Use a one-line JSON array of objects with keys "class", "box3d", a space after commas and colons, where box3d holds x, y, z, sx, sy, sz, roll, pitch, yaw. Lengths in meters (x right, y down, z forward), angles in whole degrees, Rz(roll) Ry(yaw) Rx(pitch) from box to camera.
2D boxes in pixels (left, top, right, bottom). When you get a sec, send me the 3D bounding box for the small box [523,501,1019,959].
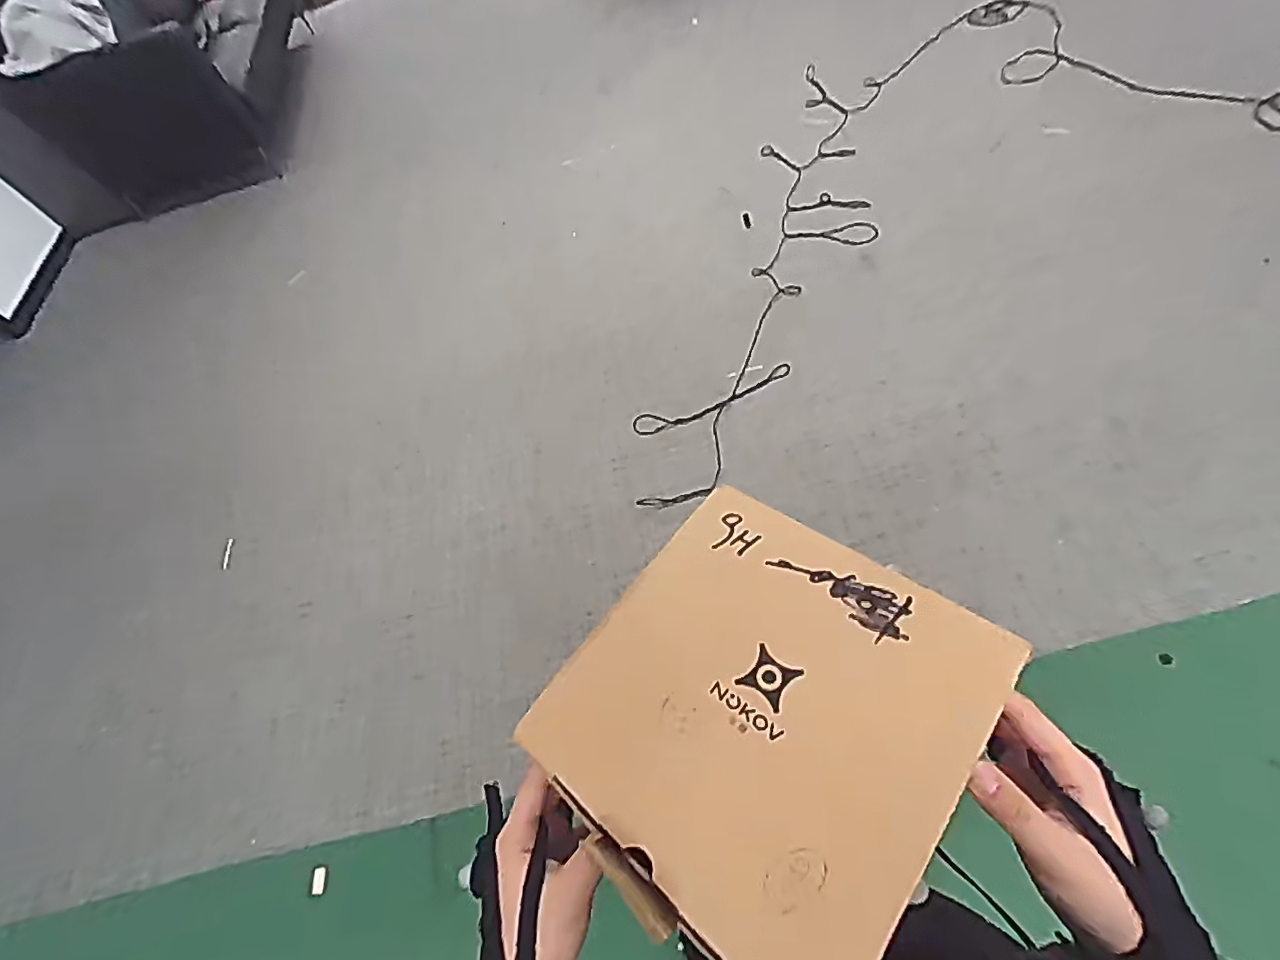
[{"class": "small box", "box3d": [0.073, 0.152, 0.313, 0.168, 0.176, 0.179, 30, 67, 32]}]
